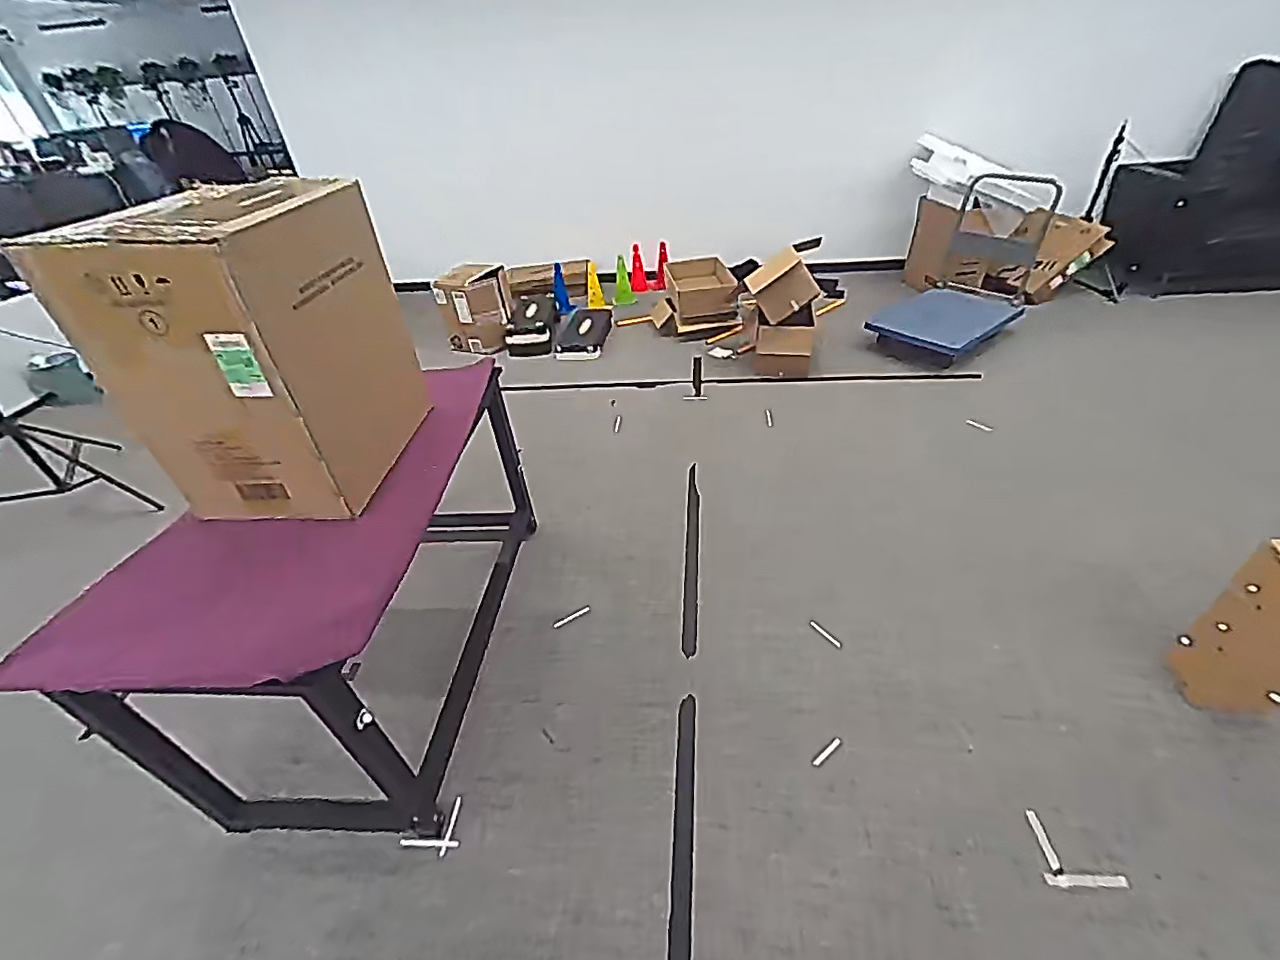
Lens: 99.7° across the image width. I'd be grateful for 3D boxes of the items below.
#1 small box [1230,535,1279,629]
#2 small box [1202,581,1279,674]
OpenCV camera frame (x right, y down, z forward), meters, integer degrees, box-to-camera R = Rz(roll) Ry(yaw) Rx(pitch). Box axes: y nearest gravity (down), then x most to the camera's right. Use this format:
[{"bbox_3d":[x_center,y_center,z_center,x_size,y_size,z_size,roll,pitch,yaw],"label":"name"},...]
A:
[{"bbox_3d":[1.632,0.257,1.318,0.179,0.176,0.168,4,38,11],"label":"small box"},{"bbox_3d":[1.639,0.389,1.411,0.179,0.176,0.168,4,38,11],"label":"small box"}]
